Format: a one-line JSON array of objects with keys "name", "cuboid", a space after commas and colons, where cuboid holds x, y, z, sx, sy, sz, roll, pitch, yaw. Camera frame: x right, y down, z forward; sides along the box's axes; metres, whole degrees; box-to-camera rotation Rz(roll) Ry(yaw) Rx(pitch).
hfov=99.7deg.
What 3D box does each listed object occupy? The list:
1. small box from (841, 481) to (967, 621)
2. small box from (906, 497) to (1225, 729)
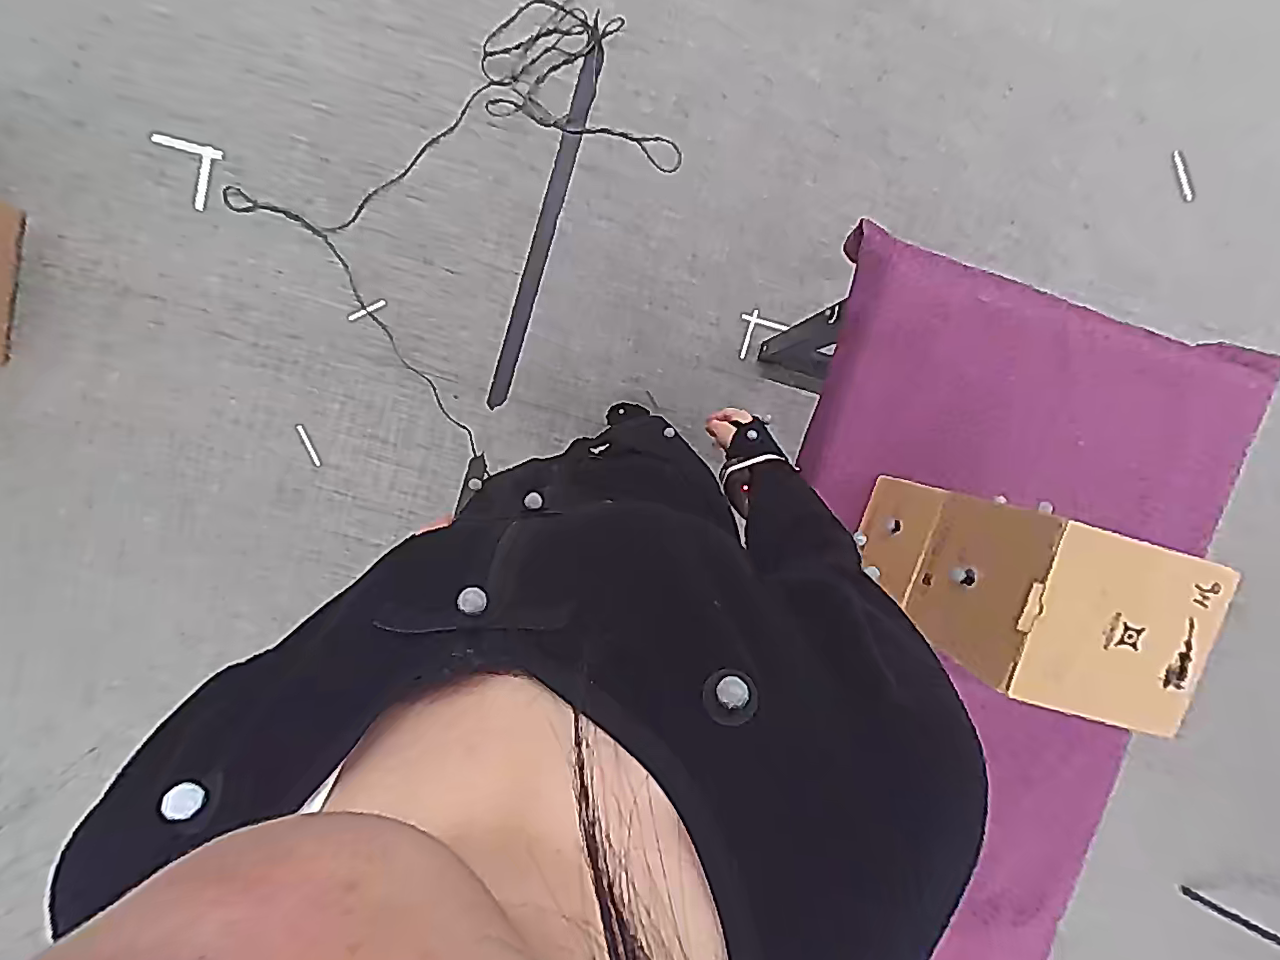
[{"name": "small box", "cuboid": [0.403, 0.104, 0.728, 0.179, 0.176, 0.168, 18, 95, -6]}, {"name": "small box", "cuboid": [0.417, 0.122, 0.566, 0.179, 0.176, 0.168, 16, 96, -5]}]
